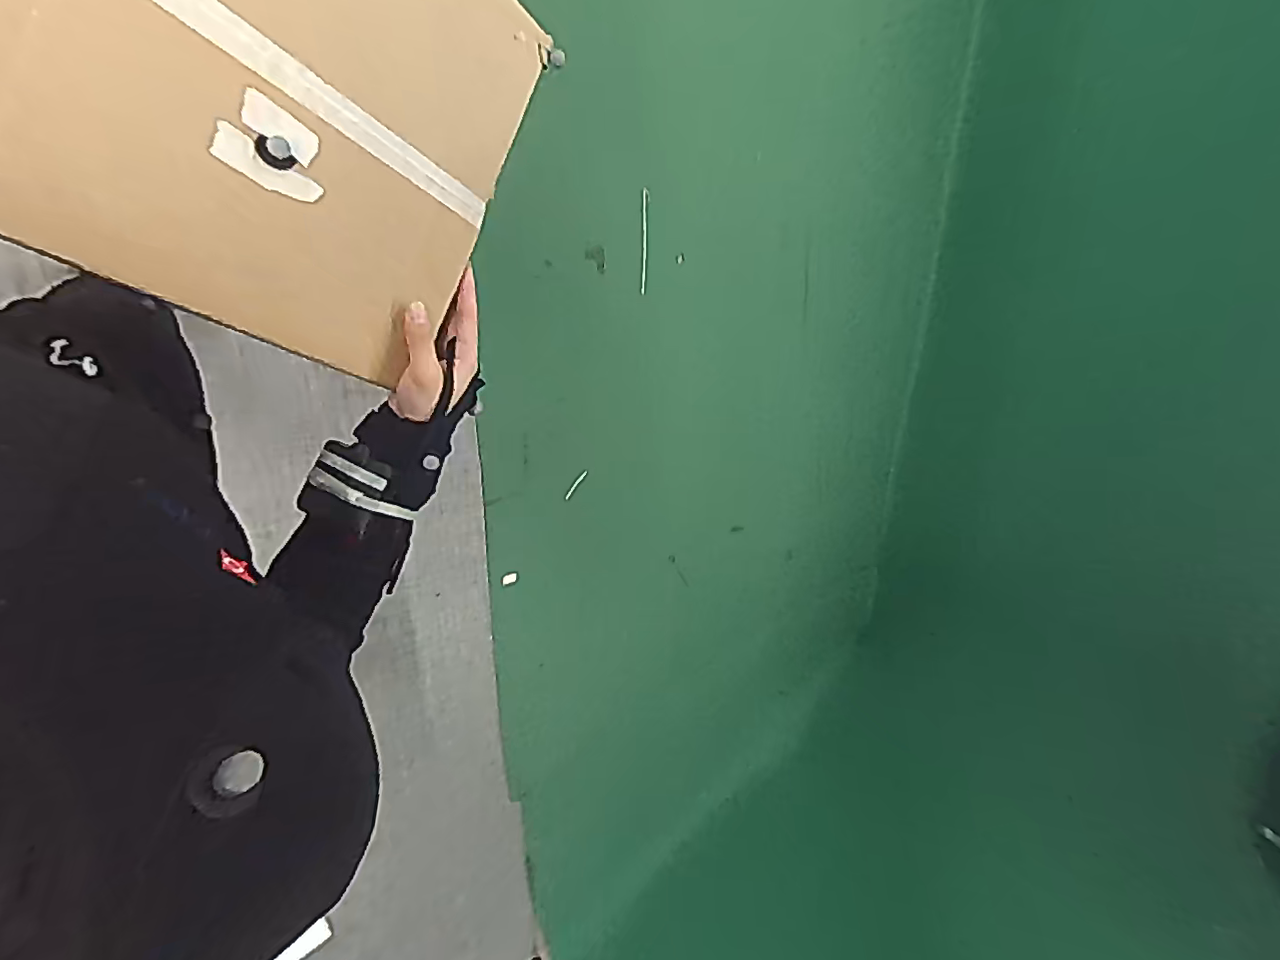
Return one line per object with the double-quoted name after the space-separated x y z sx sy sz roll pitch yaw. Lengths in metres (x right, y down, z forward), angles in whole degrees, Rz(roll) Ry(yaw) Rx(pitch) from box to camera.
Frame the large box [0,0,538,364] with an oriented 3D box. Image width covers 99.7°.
-0.363 -0.320 0.393 0.408 0.320 0.320 21 91 -49 "large box"
